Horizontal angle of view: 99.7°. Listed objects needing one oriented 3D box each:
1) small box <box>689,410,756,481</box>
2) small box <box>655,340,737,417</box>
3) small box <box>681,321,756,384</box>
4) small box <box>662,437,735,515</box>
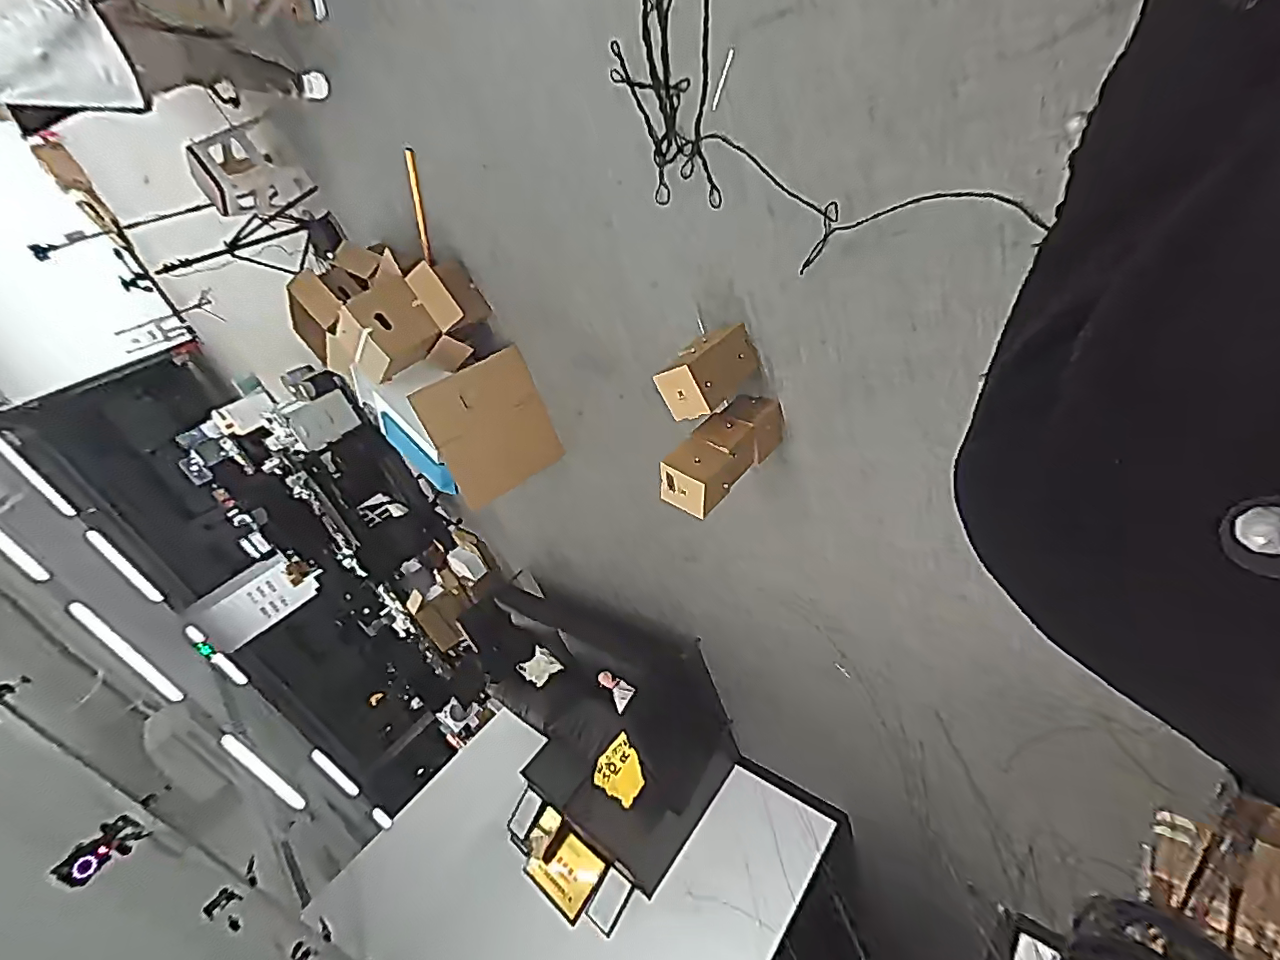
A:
[{"bbox_3d":[0.289,-0.115,1.877,0.168,0.176,0.179,25,140,33],"label":"small box"},{"bbox_3d":[0.187,-0.330,1.767,0.168,0.176,0.179,-6,120,51],"label":"small box"},{"bbox_3d":[0.279,-0.428,1.860,0.179,0.176,0.168,1,125,50],"label":"small box"},{"bbox_3d":[0.191,-0.021,1.785,0.179,0.176,0.168,28,142,29],"label":"small box"}]
